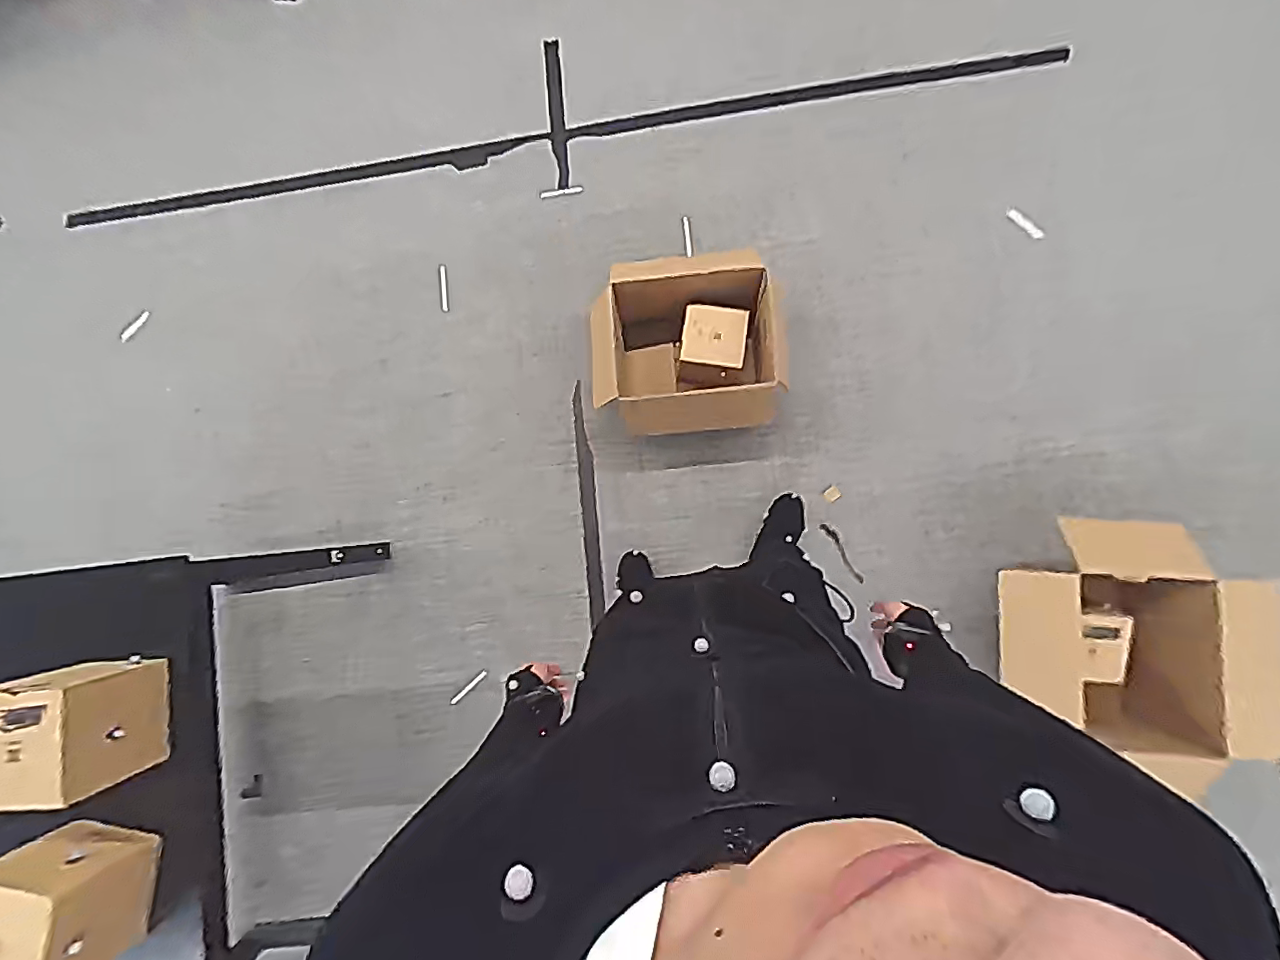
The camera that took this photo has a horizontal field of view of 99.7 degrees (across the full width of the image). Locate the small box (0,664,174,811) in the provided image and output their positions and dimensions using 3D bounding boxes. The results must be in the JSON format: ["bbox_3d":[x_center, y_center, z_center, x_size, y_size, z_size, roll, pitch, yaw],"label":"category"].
[{"bbox_3d":[-0.915,0.410,0.888,0.168,0.176,0.179,-5,87,5],"label":"small box"}]

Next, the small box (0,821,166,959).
[{"bbox_3d":[-0.922,0.689,0.871,0.168,0.176,0.179,7,88,6],"label":"small box"}]
